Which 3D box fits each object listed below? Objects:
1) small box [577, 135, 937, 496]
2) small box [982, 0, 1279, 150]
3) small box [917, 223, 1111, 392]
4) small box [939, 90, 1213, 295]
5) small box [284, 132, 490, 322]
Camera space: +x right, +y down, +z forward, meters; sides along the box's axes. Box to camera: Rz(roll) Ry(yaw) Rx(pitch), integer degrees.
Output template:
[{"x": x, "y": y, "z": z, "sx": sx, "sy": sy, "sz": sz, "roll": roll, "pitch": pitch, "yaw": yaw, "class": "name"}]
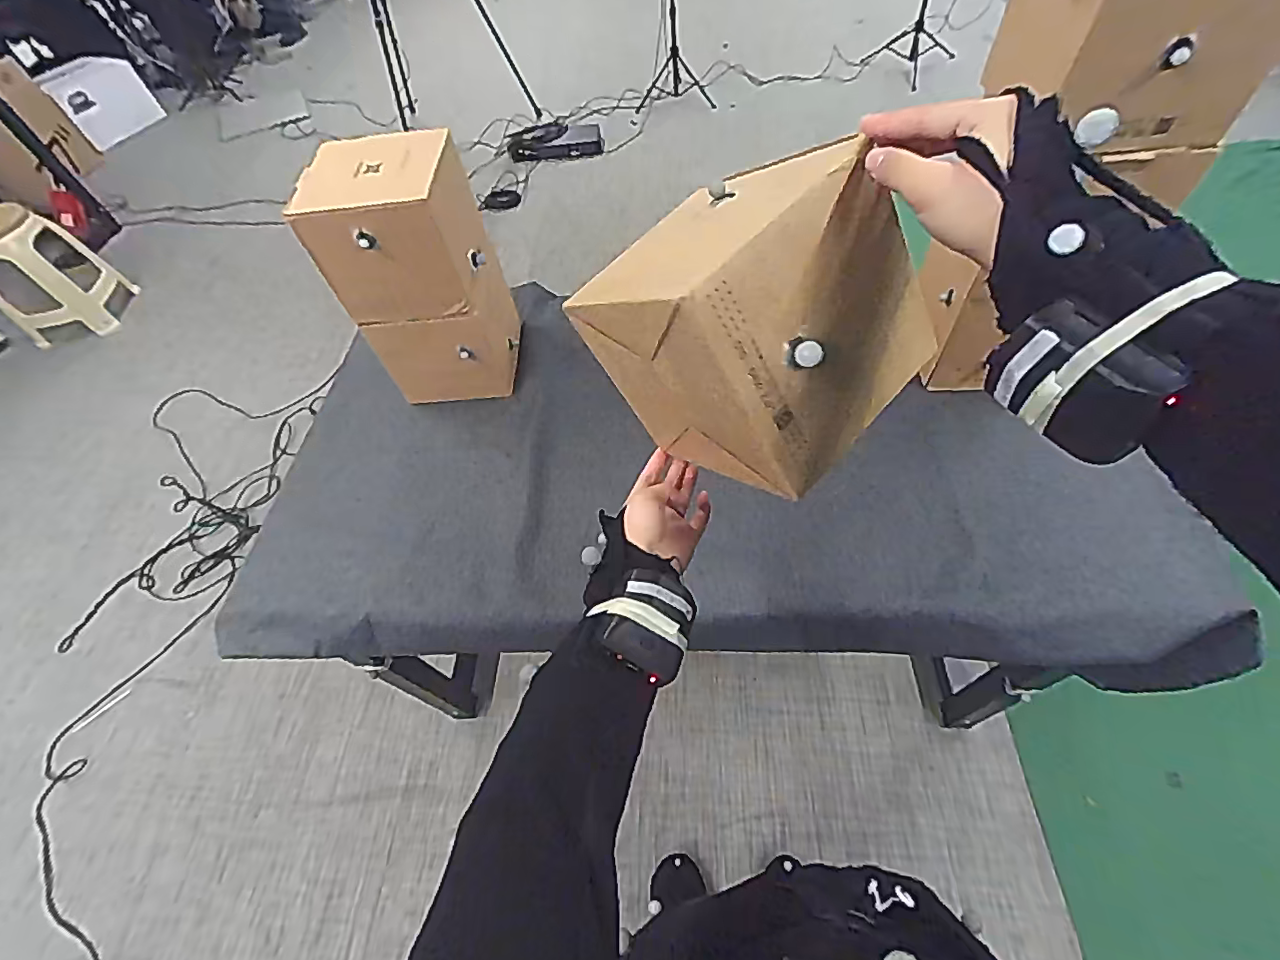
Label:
[{"x": 0.079, "y": -0.115, "z": 0.413, "sx": 0.176, "sy": 0.168, "sz": 0.179, "roll": -43, "pitch": 30, "yaw": -11, "class": "small box"}, {"x": 0.450, "y": -0.424, "z": 0.492, "sx": 0.168, "sy": 0.176, "sz": 0.179, "roll": 0, "pitch": 56, "yaw": 7, "class": "small box"}, {"x": 0.496, "y": -0.246, "z": 0.765, "sx": 0.168, "sy": 0.176, "sz": 0.179, "roll": 1, "pitch": 57, "yaw": 8, "class": "small box"}, {"x": 0.475, "y": -0.332, "z": 0.628, "sx": 0.168, "sy": 0.176, "sz": 0.179, "roll": 1, "pitch": 58, "yaw": 8, "class": "small box"}, {"x": -0.320, "y": -0.331, "z": 0.726, "sx": 0.179, "sy": 0.176, "sz": 0.168, "roll": -4, "pitch": 58, "yaw": 3, "class": "small box"}]
